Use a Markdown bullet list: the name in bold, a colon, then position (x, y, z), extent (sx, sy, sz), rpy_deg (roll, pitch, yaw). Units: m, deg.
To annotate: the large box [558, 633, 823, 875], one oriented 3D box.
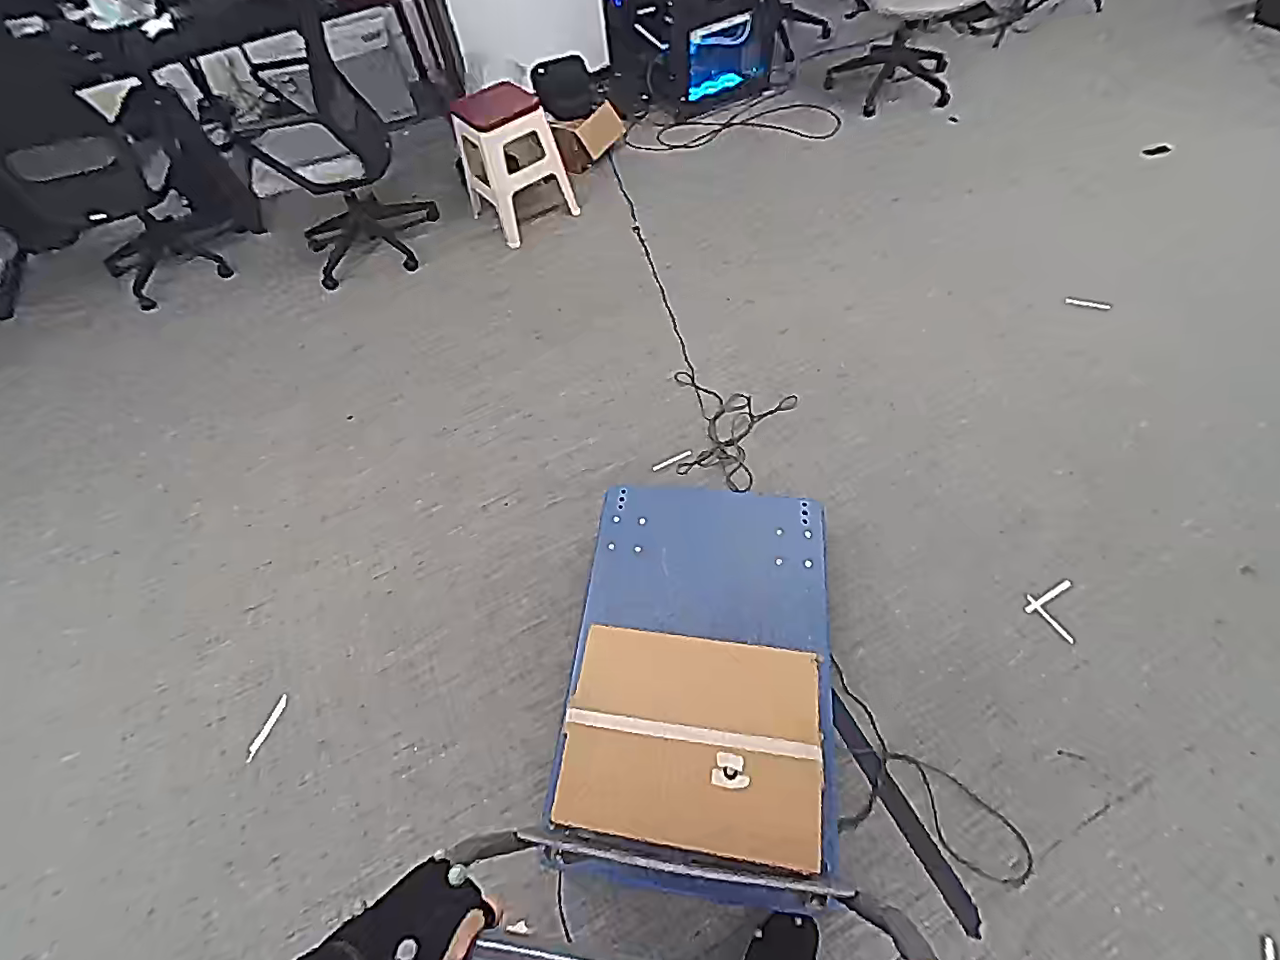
- **large box**: position (0.099, 0.502, 1.005), extent (0.408, 0.320, 0.320), rpy_deg (5, 59, 9)
